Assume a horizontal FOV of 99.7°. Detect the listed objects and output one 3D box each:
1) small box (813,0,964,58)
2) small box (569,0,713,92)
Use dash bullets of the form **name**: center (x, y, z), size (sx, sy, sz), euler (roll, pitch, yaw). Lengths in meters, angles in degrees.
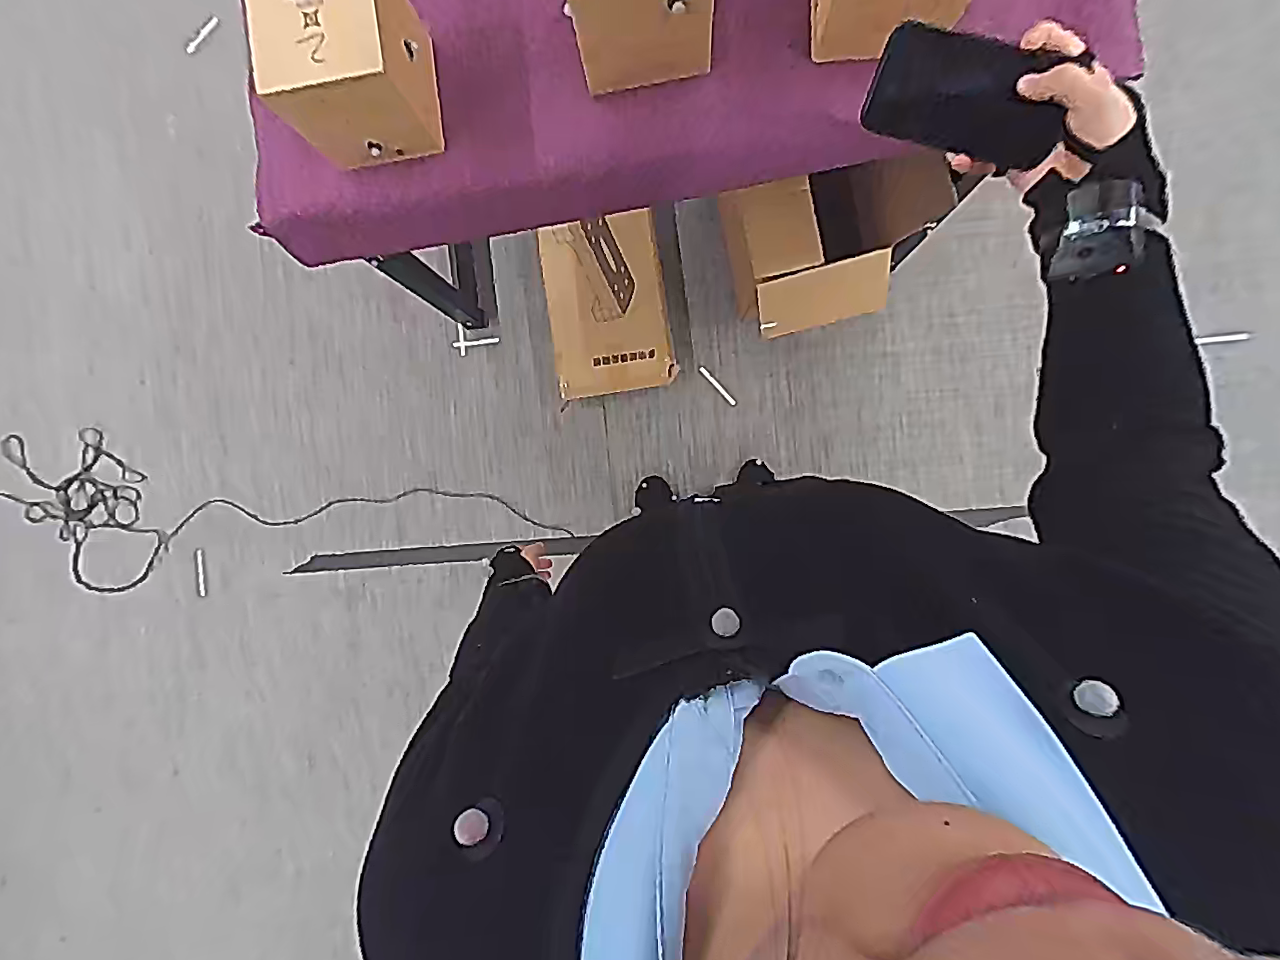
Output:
- **small box**: center (0.316, -0.663, 0.665), size (0.179, 0.176, 0.168), euler (-1, 90, 5)
- **small box**: center (-0.001, -0.645, 0.691), size (0.179, 0.176, 0.168), euler (-8, 87, 5)
